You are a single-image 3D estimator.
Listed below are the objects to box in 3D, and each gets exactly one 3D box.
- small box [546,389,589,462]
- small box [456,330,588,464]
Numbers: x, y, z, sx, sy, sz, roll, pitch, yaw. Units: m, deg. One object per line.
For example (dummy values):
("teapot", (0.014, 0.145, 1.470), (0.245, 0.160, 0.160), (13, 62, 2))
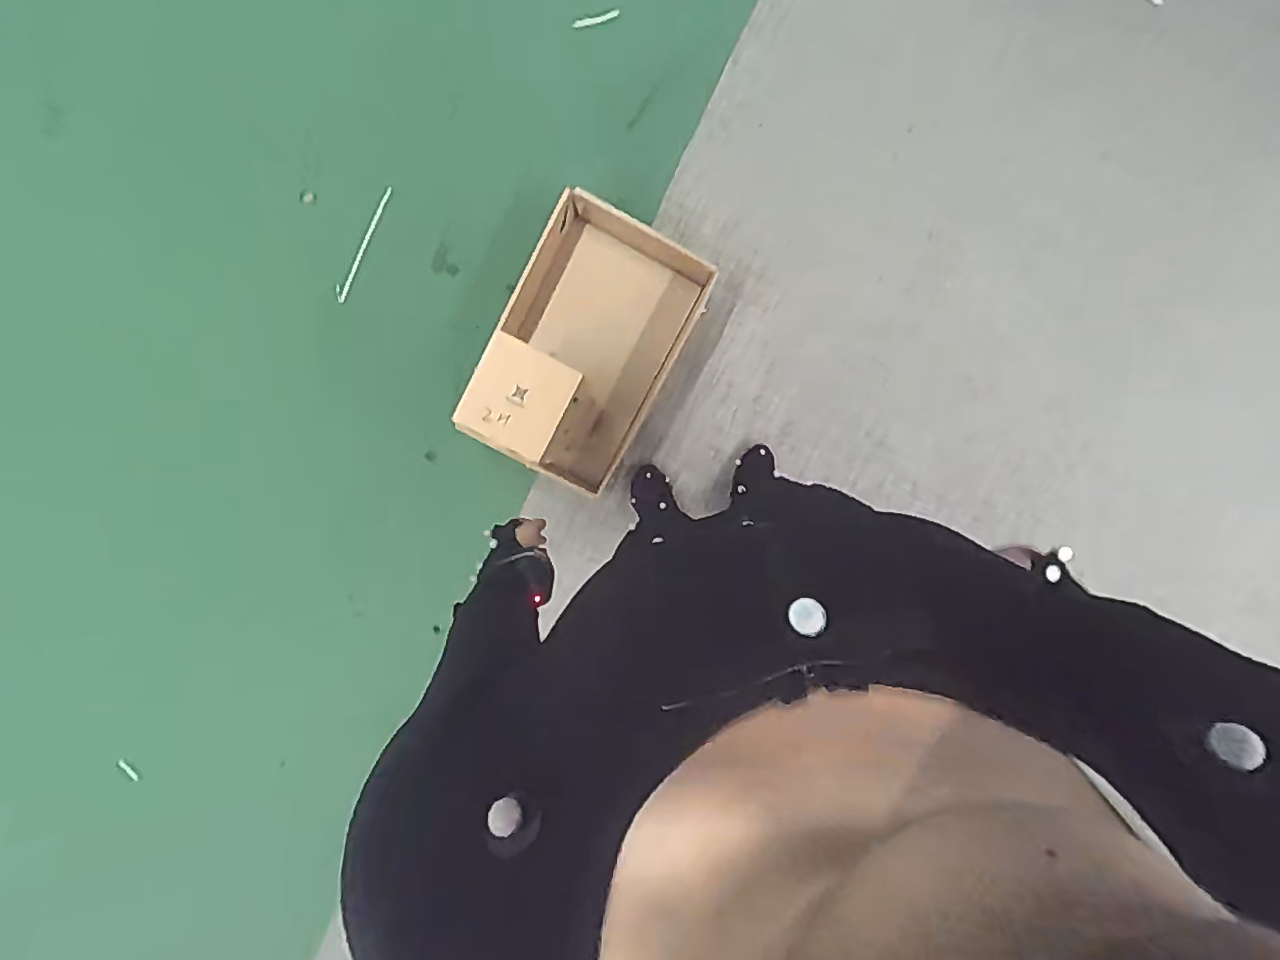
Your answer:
("small box", (-0.216, -0.154, 1.157), (0.168, 0.176, 0.179), (27, 93, -4))
("small box", (-0.204, -0.147, 0.992), (0.168, 0.176, 0.179), (27, 94, -3))
